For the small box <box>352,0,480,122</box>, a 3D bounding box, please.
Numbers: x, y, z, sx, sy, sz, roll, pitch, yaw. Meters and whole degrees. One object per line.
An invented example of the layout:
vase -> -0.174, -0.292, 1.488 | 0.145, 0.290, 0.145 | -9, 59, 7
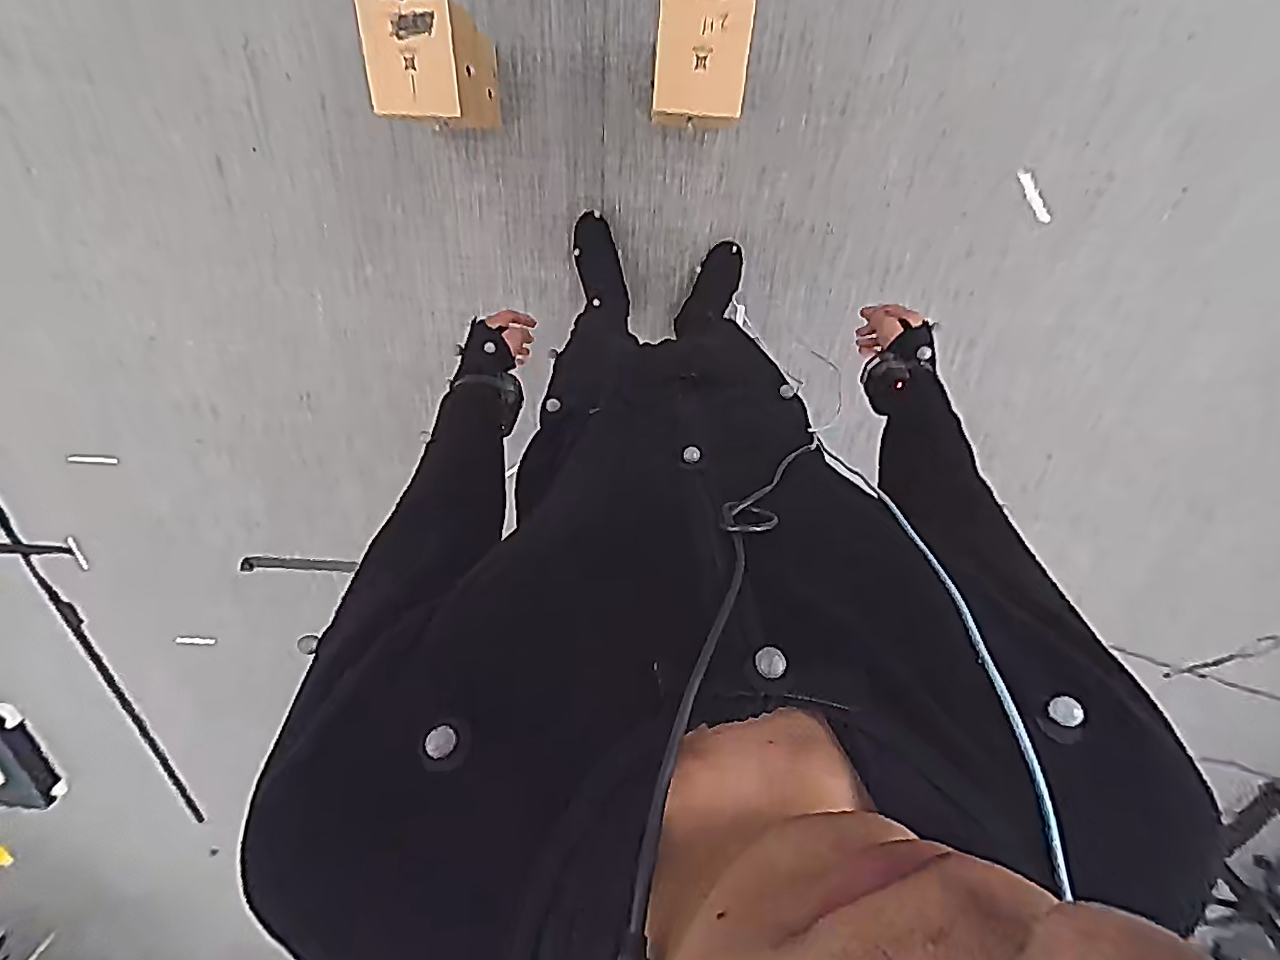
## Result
small box -> -0.414, -0.796, 1.030 | 0.168, 0.176, 0.179 | 2, 121, 0

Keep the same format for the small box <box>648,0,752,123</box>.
small box -> 0.104, -0.793, 1.027 | 0.168, 0.176, 0.179 | 4, 120, -2

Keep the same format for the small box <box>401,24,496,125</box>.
small box -> -0.418, -0.876, 1.174 | 0.179, 0.176, 0.168 | 2, 120, 0
